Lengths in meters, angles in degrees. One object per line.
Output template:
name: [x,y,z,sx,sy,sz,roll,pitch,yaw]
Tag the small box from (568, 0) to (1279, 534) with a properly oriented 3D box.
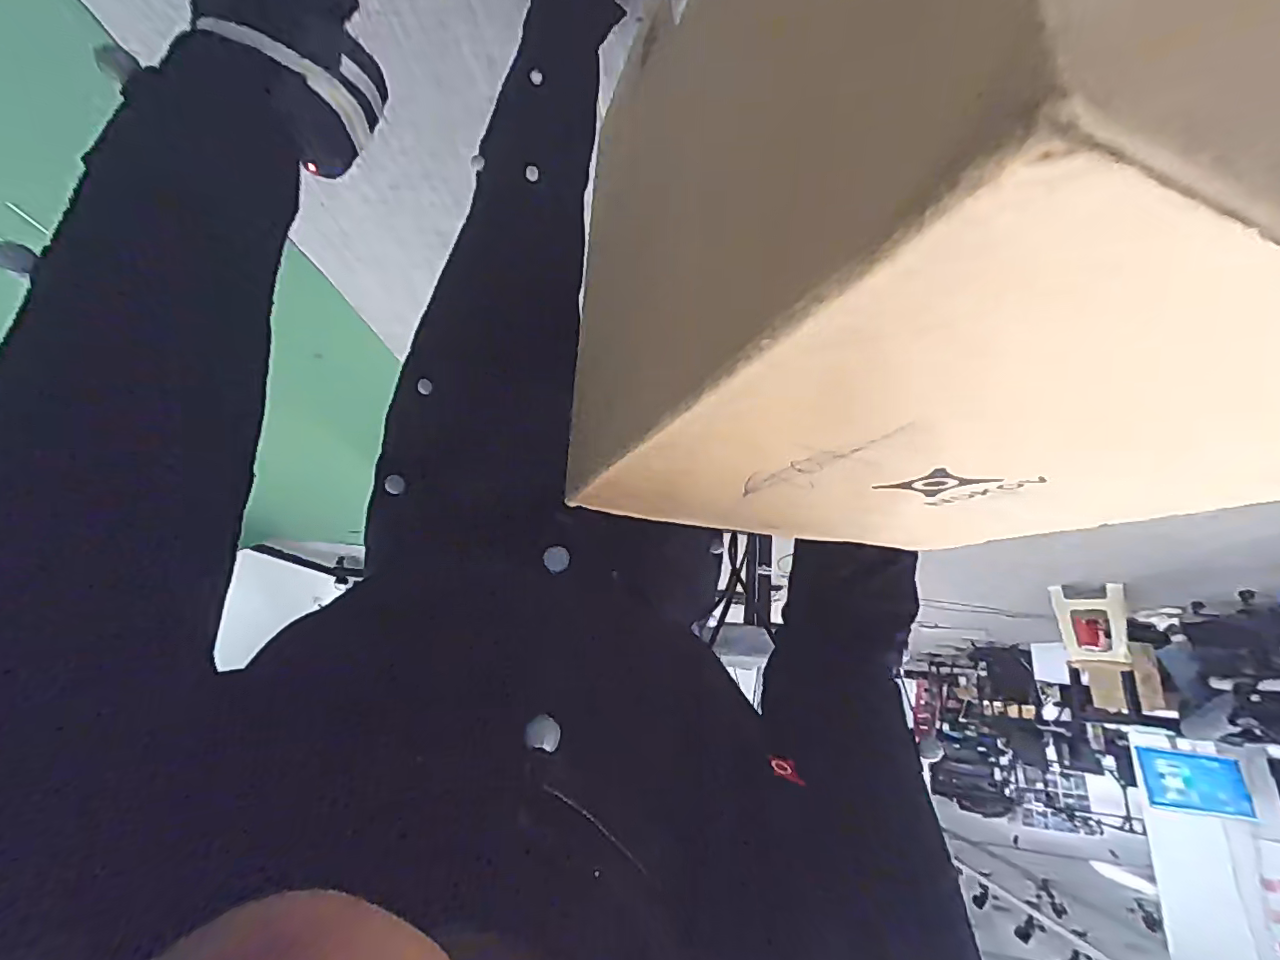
small box: [0.087,-0.085,0.174,0.179,0.176,0.168,9,162,-19]
